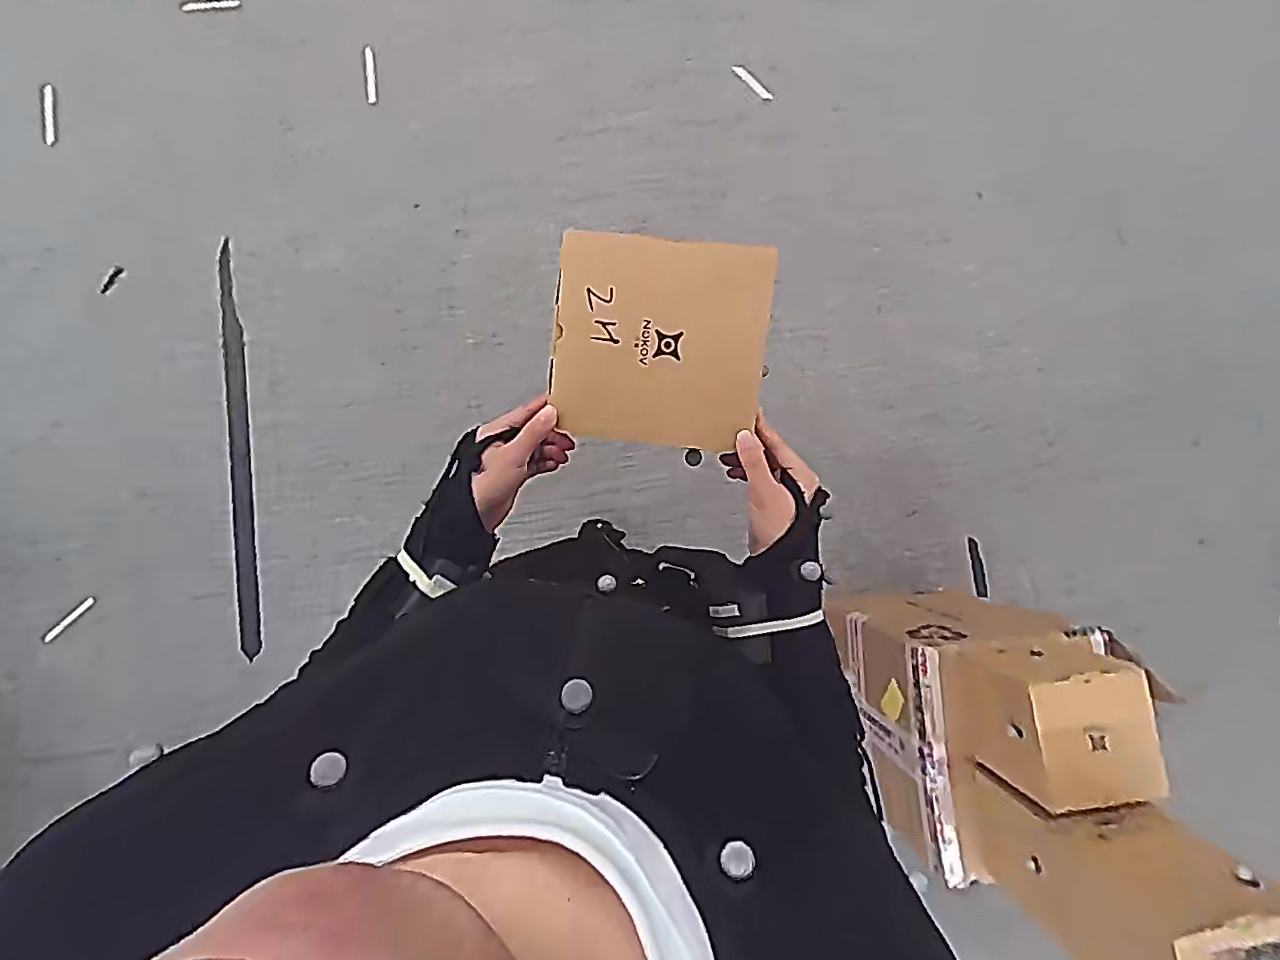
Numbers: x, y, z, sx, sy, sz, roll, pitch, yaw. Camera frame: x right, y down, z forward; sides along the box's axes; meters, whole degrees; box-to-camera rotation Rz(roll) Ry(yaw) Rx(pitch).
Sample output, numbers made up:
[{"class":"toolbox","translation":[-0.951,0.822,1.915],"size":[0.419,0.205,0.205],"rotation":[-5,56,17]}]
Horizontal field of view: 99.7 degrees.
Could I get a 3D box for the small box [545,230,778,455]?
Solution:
[{"class":"small box","translation":[0.021,-0.121,0.520],"size":[0.179,0.176,0.168],"rotation":[7,97,5]}]
